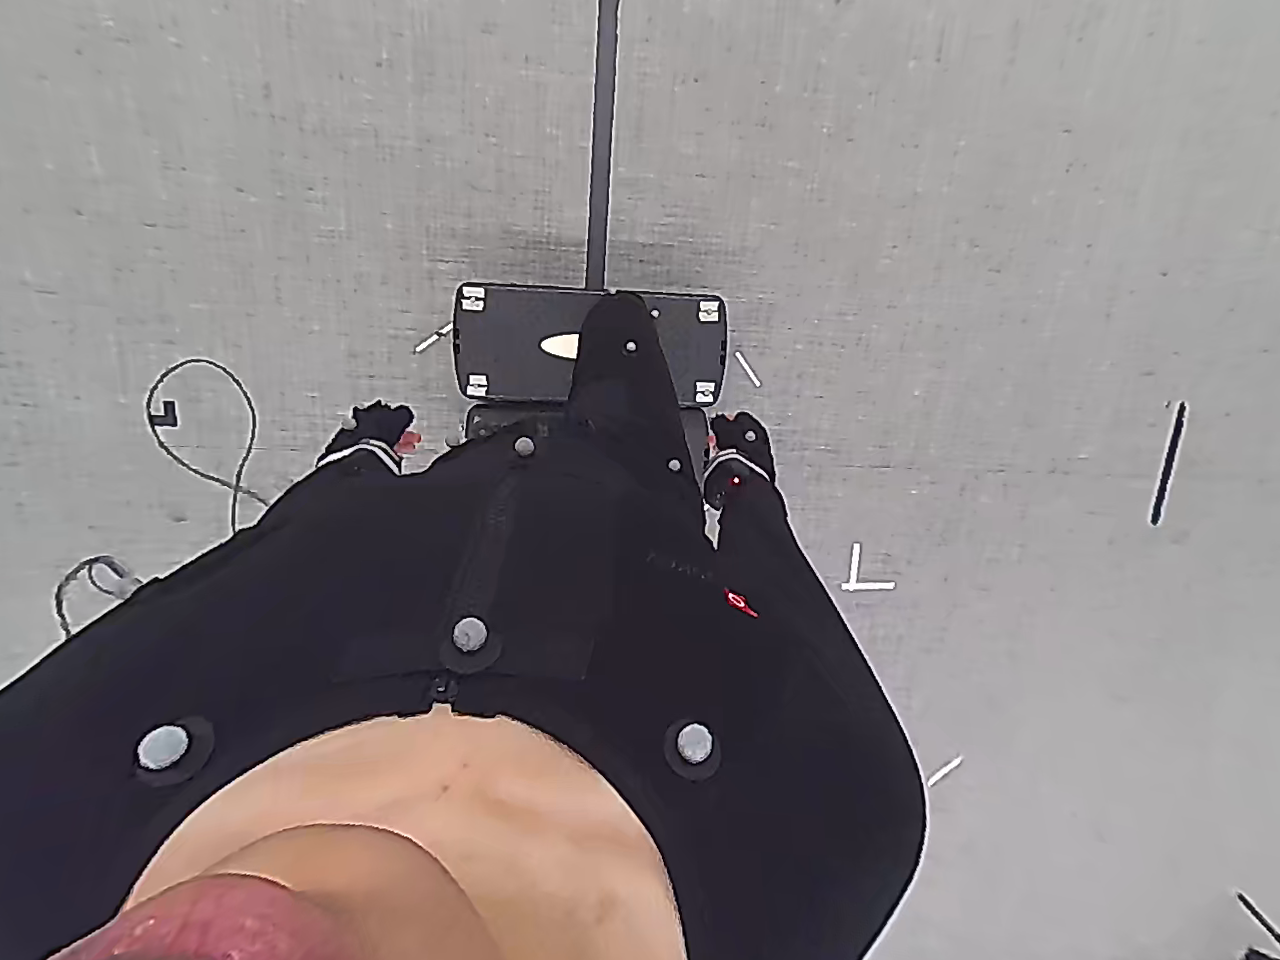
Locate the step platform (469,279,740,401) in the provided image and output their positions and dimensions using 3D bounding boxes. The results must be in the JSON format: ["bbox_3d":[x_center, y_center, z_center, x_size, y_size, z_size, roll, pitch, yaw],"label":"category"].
[{"bbox_3d":[-0.086,-0.356,1.405,0.684,0.204,0.286,0,103,-6],"label":"step platform"}]
